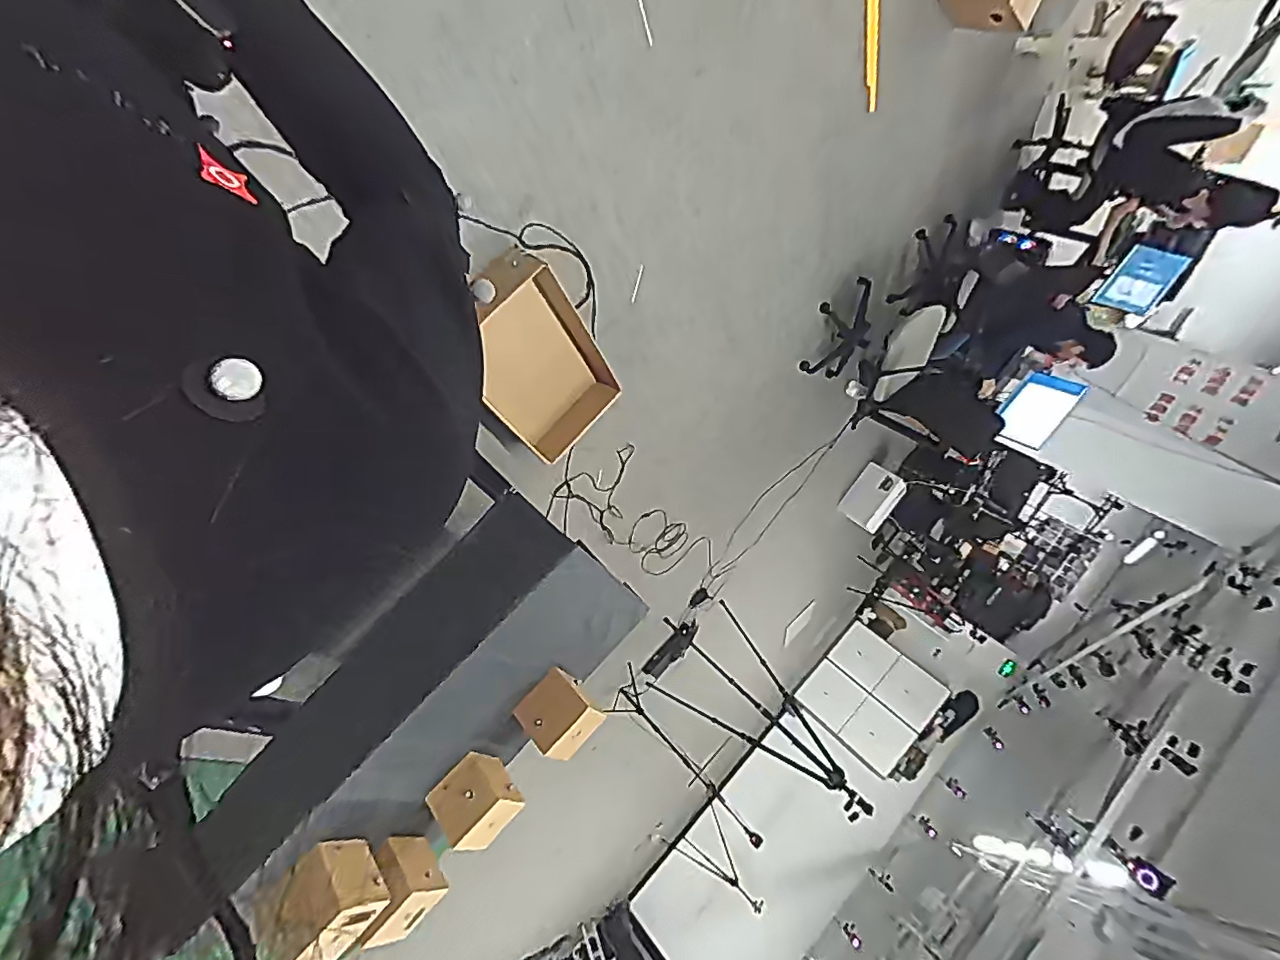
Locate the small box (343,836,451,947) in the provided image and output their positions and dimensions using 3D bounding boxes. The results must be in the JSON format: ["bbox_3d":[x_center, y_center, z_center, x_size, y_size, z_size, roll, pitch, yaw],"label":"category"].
[{"bbox_3d":[-0.656,1.100,1.462,0.168,0.176,0.179,-44,145,-13],"label":"small box"}]

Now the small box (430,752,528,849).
[{"bbox_3d":[-0.456,0.900,1.525,0.168,0.176,0.179,-44,146,-13],"label":"small box"}]

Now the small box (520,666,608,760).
[{"bbox_3d":[-0.231,0.689,1.597,0.179,0.176,0.168,-43,146,-12],"label":"small box"}]
